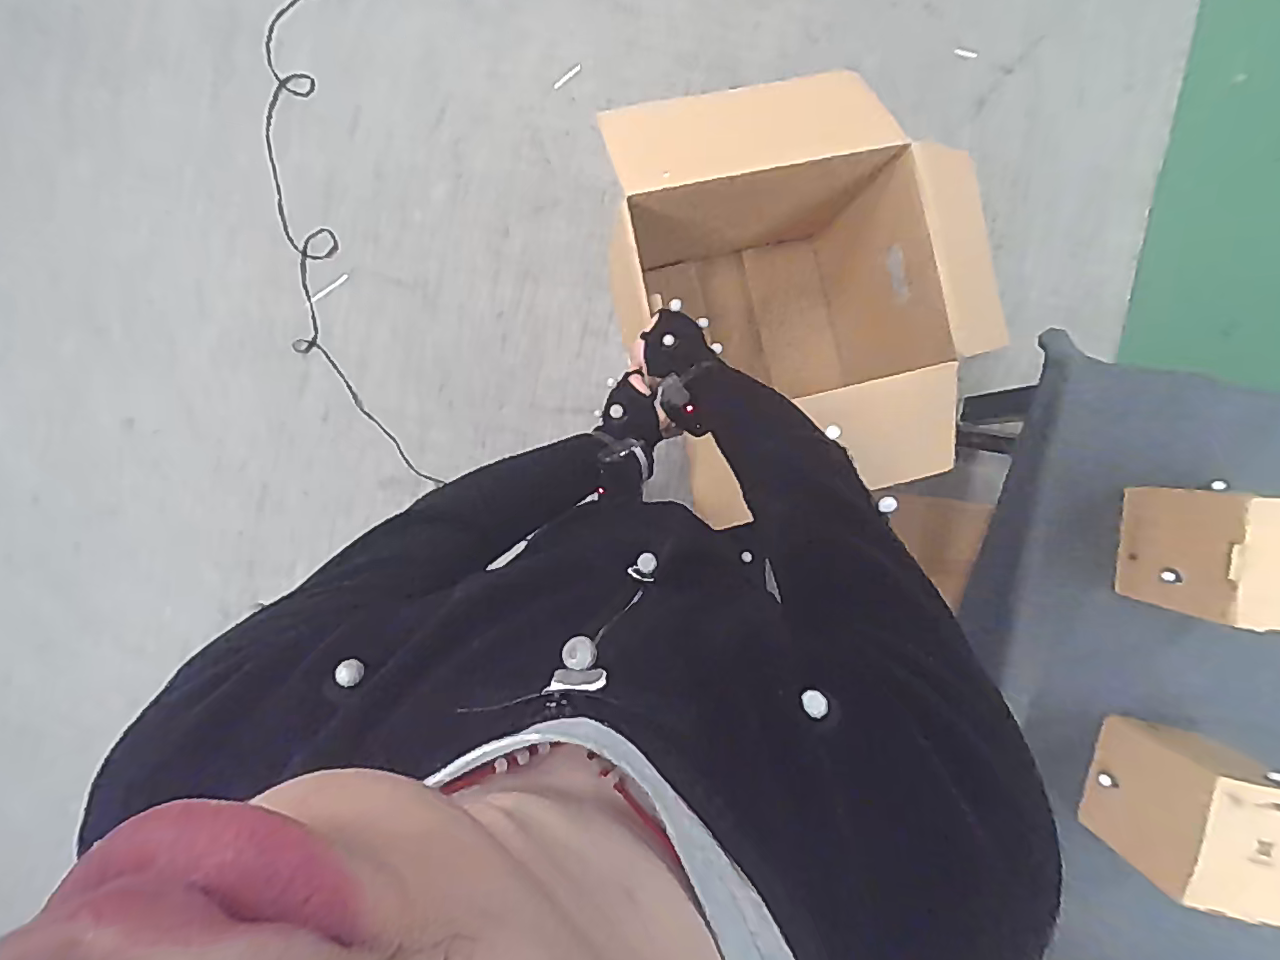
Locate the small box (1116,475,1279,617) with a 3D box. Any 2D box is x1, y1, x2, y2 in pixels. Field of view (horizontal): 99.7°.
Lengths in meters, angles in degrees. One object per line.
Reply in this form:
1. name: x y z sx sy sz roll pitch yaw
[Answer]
1. small box: 0.816 0.084 0.745 0.179 0.176 0.168 2 96 -2
